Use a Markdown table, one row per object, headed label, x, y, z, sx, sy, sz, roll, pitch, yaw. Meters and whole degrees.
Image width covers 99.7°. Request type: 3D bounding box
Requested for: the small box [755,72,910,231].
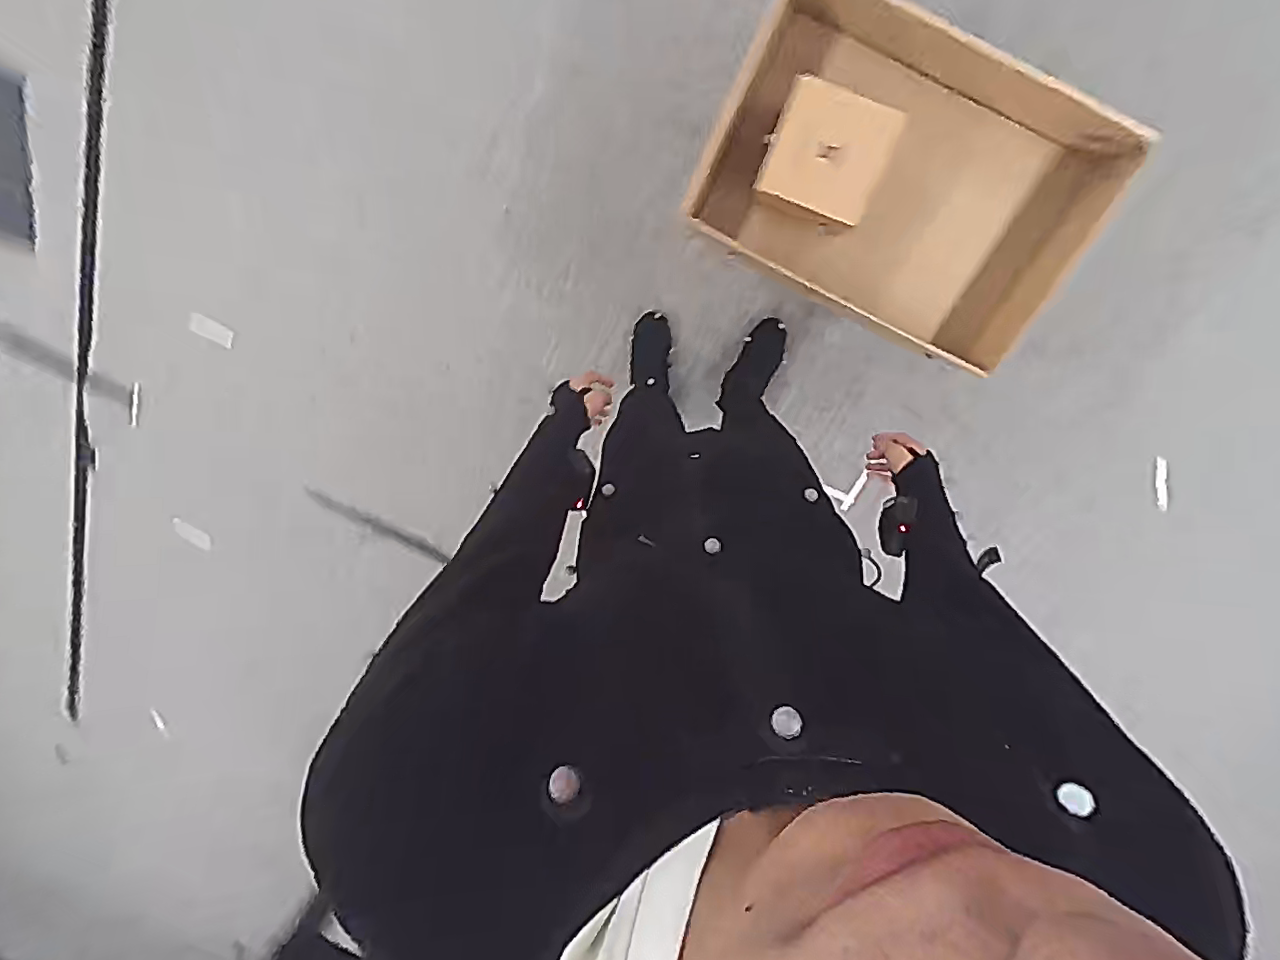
| label | x | y | z | sx | sy | sz | roll | pitch | yaw |
| --- | --- | --- | --- | --- | --- | --- | --- | --- | --- |
| small box | 0.308 | -0.535 | 0.910 | 0.179 | 0.176 | 0.168 | 23 | 111 | 1 |
